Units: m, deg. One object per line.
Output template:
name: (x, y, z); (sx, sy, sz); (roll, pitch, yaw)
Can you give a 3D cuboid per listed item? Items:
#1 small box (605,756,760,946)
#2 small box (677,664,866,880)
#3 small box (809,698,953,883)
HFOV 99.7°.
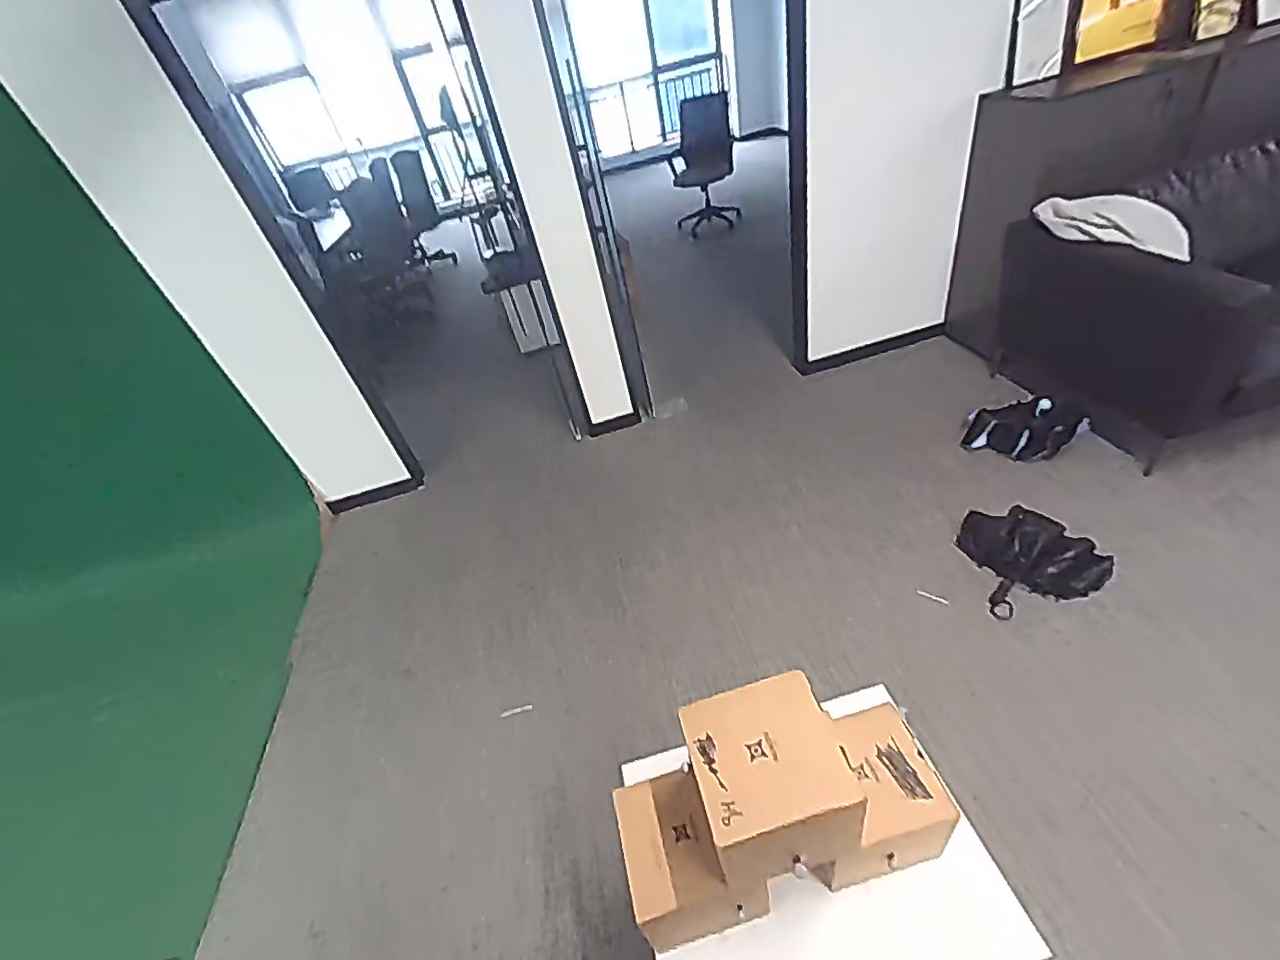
small box: (0.061, 0.527, 0.779); (0.179, 0.176, 0.168); (-16, 38, -5)
small box: (0.156, 0.369, 0.686); (0.179, 0.176, 0.168); (-15, 39, -4)
small box: (0.316, 0.457, 0.798); (0.179, 0.176, 0.168); (-16, 39, -3)
